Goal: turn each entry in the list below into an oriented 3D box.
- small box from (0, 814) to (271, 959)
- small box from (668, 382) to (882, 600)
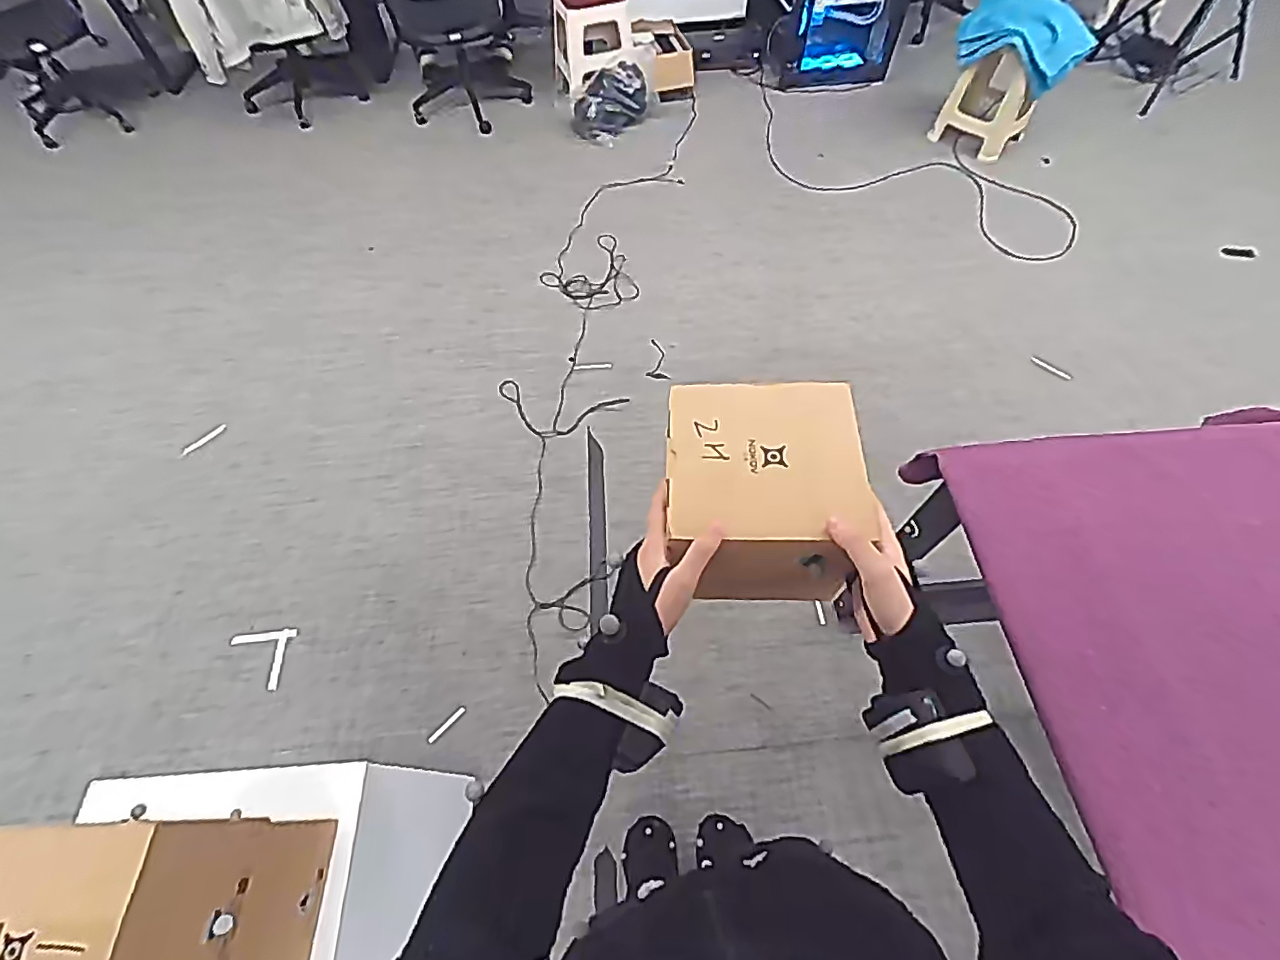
[{"bbox_3d":[-0.494,0.407,0.494,0.179,0.176,0.168,-2,60,0],"label":"small box"},{"bbox_3d":[0.118,0.018,0.549,0.179,0.176,0.168,0,61,5],"label":"small box"}]
